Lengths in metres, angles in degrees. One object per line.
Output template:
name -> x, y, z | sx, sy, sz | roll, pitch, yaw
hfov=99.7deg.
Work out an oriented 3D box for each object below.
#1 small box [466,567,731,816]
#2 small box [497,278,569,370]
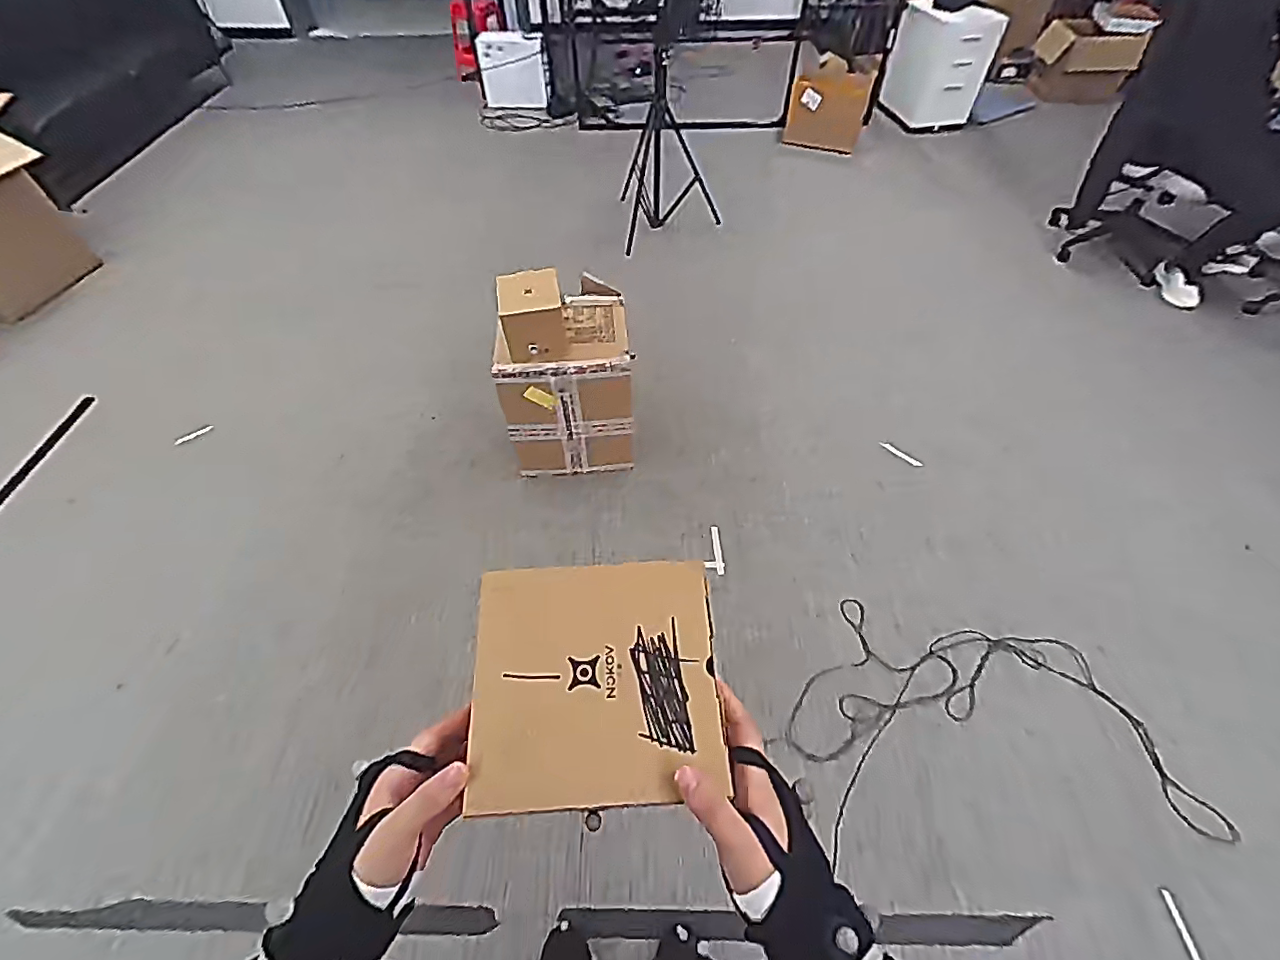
small box -> -0.031, 0.182, 0.460 | 0.179, 0.176, 0.168 | -3, 59, -2
small box -> -0.300, -0.437, 1.521 | 0.168, 0.176, 0.179 | -11, 57, -6
